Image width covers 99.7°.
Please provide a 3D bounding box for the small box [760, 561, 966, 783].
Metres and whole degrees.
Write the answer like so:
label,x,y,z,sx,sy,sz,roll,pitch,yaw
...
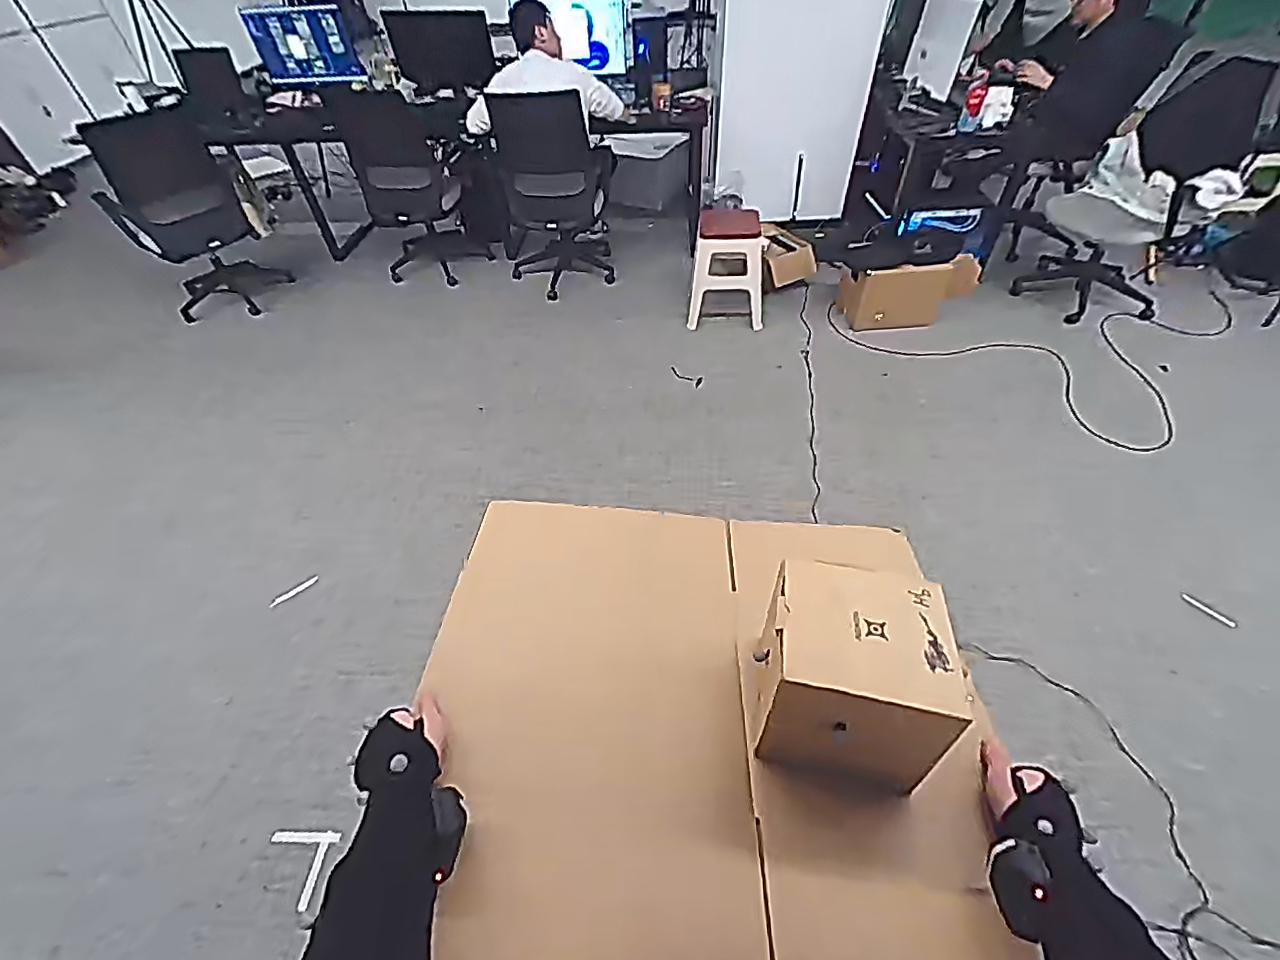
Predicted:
label,x,y,z,sx,sy,sz,roll,pitch,yaw
small box,0.238,0.220,0.625,0.179,0.176,0.168,8,41,10
